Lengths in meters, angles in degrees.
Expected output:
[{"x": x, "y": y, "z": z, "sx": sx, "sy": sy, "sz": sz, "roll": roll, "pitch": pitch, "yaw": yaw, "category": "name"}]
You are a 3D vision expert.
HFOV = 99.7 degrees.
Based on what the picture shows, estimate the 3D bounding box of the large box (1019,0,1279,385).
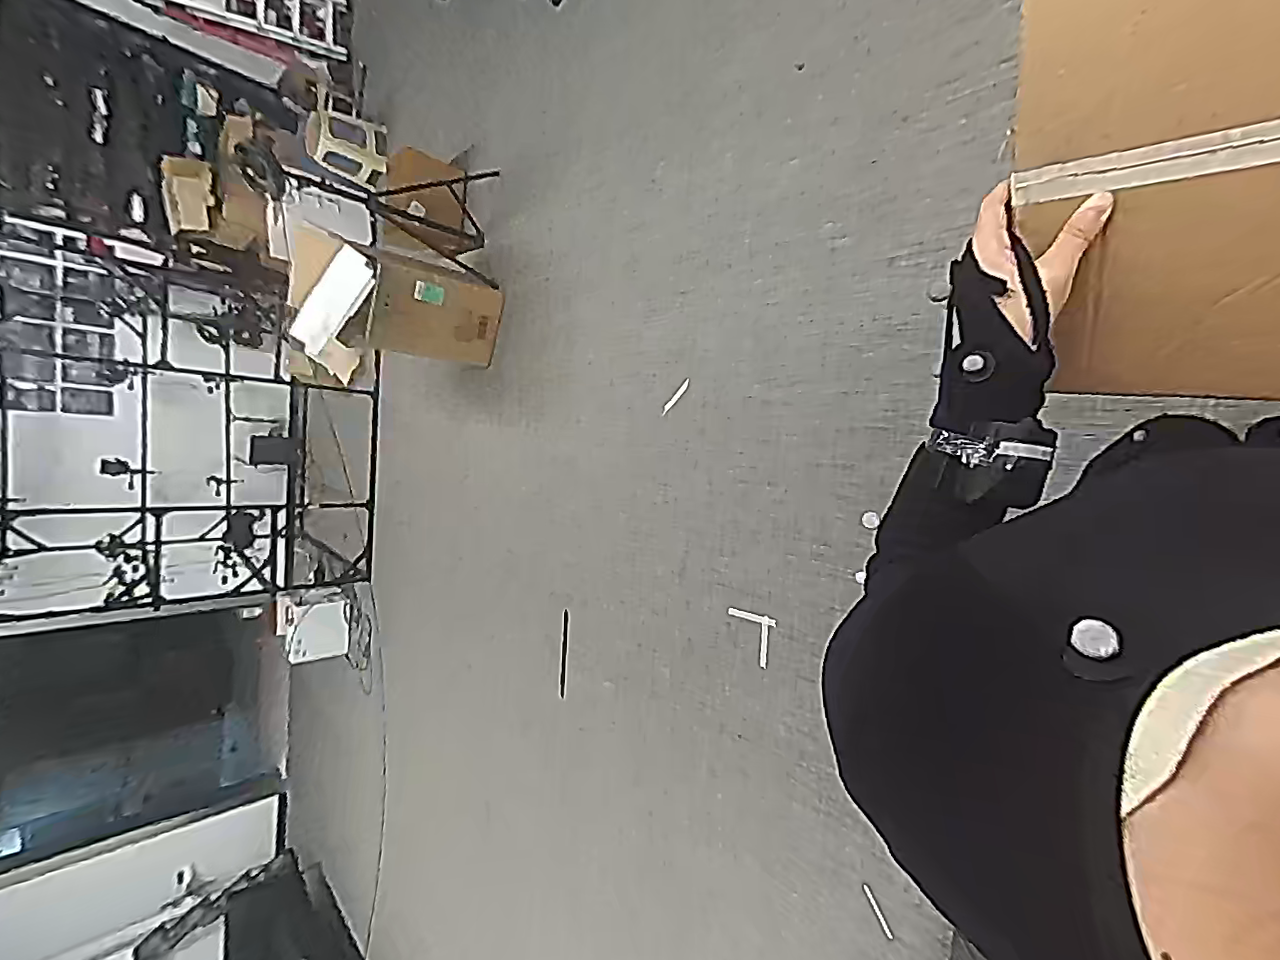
[{"x": 0.497, "y": -0.265, "z": 0.321, "sx": 0.408, "sy": 0.320, "sz": 0.320, "roll": 10, "pitch": 132, "yaw": 43, "category": "large box"}]
